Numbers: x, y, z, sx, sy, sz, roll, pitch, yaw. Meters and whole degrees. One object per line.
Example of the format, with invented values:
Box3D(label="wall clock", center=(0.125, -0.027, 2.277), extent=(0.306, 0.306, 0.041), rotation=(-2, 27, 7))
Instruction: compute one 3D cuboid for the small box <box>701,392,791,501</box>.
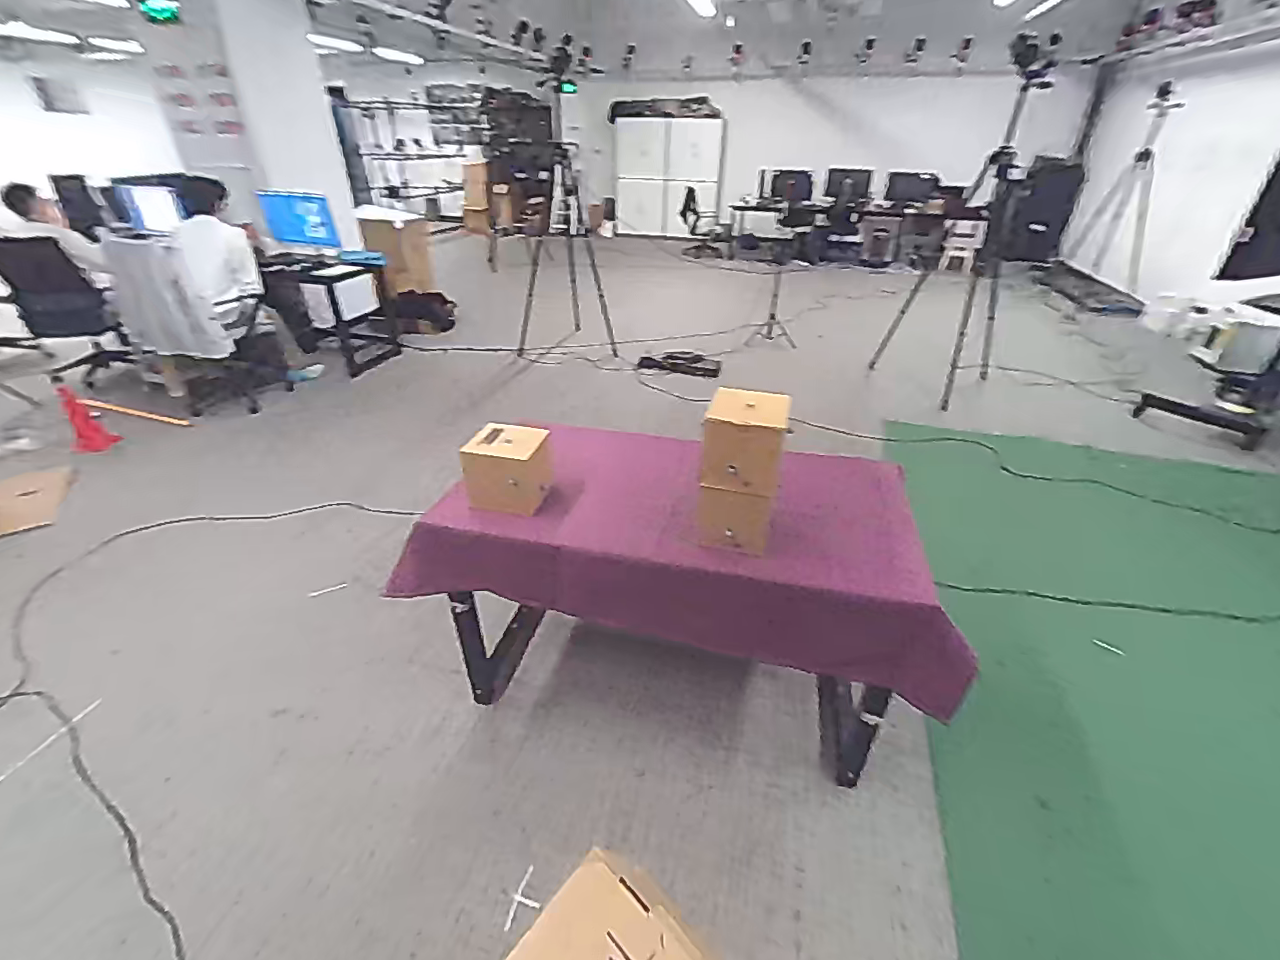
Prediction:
Box3D(label="small box", center=(0.234, -0.077, 1.198), extent=(0.168, 0.176, 0.179), rotation=(9, 34, 14))

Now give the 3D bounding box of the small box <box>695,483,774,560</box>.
Box3D(label="small box", center=(0.229, 0.062, 1.284), extent=(0.168, 0.176, 0.179), rotation=(9, 33, 14))
